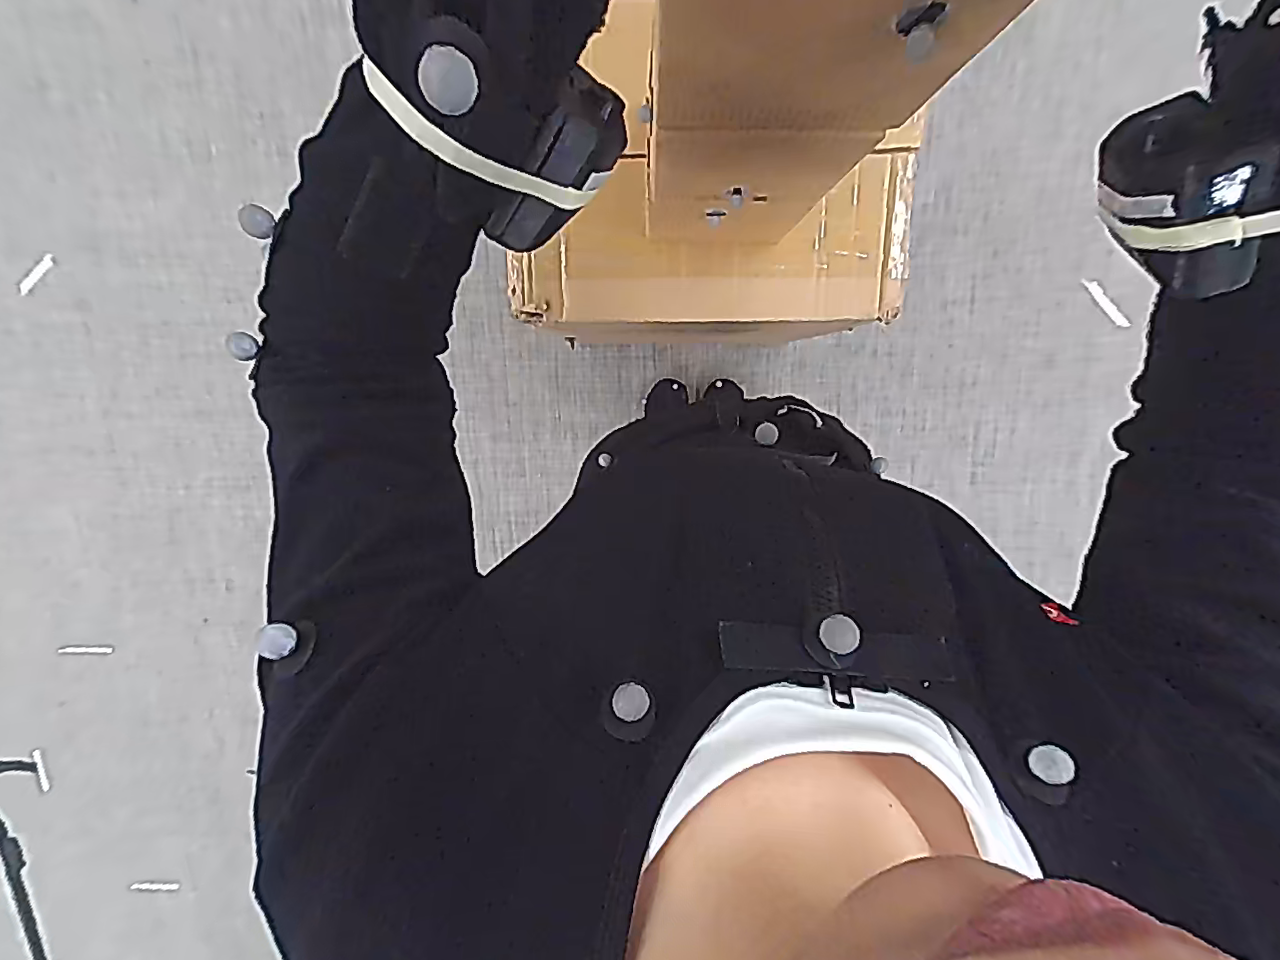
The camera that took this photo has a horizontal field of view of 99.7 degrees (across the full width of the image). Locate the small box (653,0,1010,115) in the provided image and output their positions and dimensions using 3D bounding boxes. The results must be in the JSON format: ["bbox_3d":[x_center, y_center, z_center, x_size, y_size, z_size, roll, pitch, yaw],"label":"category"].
[{"bbox_3d":[0.097,-0.318,0.281,0.179,0.176,0.168,1,101,1],"label":"small box"}]

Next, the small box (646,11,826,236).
[{"bbox_3d":[0.097,-0.381,0.605,0.179,0.176,0.168,1,101,1],"label":"small box"}]
